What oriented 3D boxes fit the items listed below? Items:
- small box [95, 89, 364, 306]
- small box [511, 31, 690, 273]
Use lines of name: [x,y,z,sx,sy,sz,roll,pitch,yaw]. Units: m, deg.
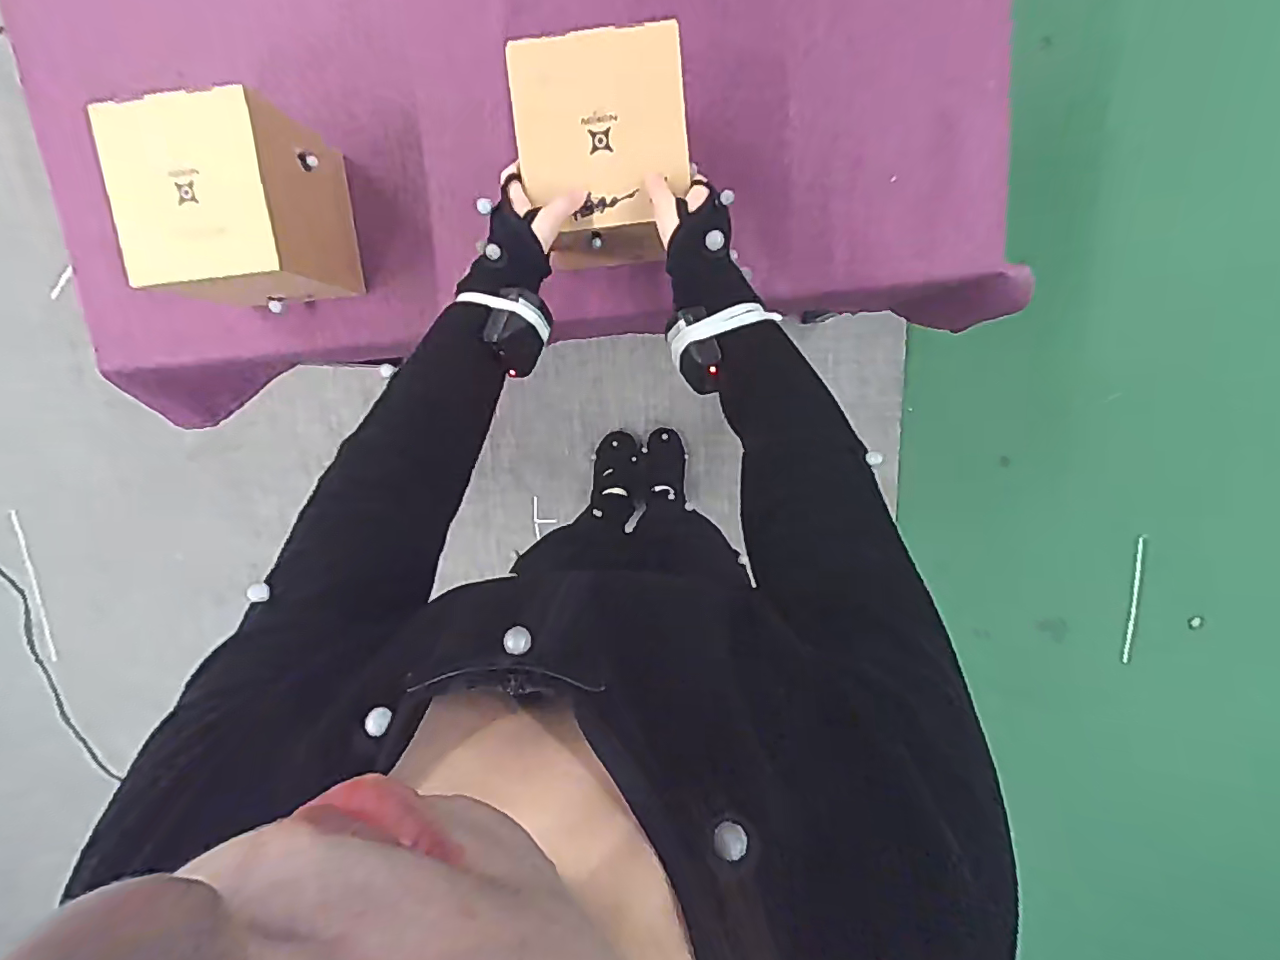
small box: [-0.451,-0.308,0.626,0.168,0.176,0.179,-4,101,3]
small box: [-0.034,-0.345,0.603,0.168,0.176,0.179,-4,100,4]
